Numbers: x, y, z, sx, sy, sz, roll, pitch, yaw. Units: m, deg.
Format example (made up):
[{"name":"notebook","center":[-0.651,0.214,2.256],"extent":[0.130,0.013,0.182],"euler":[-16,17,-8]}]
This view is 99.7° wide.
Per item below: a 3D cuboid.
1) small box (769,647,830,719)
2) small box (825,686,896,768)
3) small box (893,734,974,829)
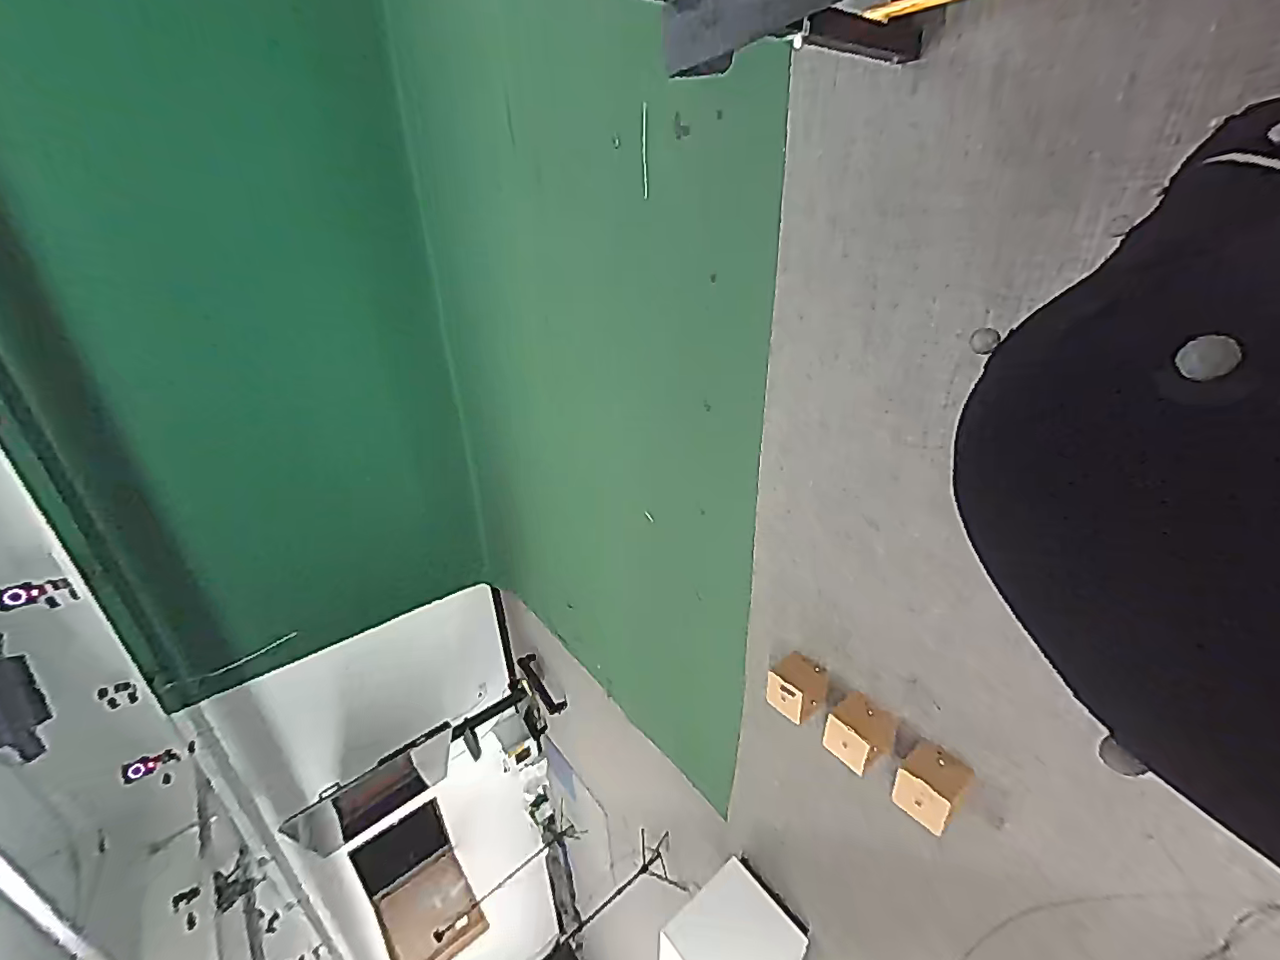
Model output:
[{"name":"small box","center":[0.641,0.808,2.170],"extent":[0.168,0.176,0.179],"euler":[27,129,47]},{"name":"small box","center":[0.807,0.900,1.979],"extent":[0.168,0.176,0.179],"euler":[31,131,45]},{"name":"small box","center":[0.970,0.992,1.787],"extent":[0.168,0.176,0.179],"euler":[28,128,45]}]
